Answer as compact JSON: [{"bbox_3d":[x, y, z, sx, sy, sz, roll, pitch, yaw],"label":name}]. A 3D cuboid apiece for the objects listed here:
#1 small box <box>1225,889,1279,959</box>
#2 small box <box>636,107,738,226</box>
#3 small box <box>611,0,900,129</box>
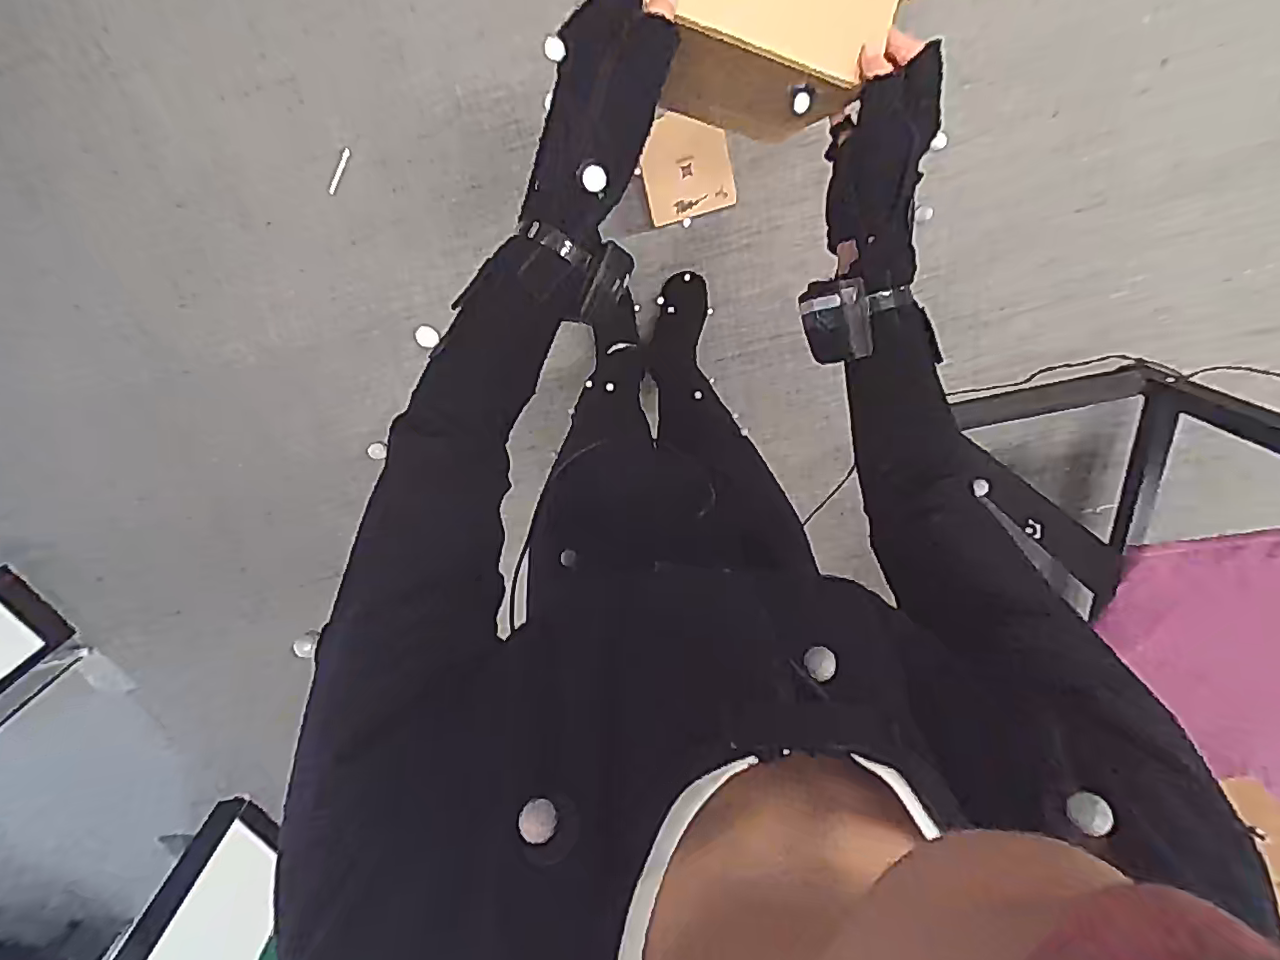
[{"bbox_3d":[1.045,0.724,0.789,0.179,0.176,0.168,-10,117,6],"label":"small box"},{"bbox_3d":[0.089,-0.621,1.078,0.168,0.176,0.179,-13,117,7],"label":"small box"},{"bbox_3d":[0.083,-0.394,0.407,0.179,0.176,0.168,7,108,-15],"label":"small box"}]
